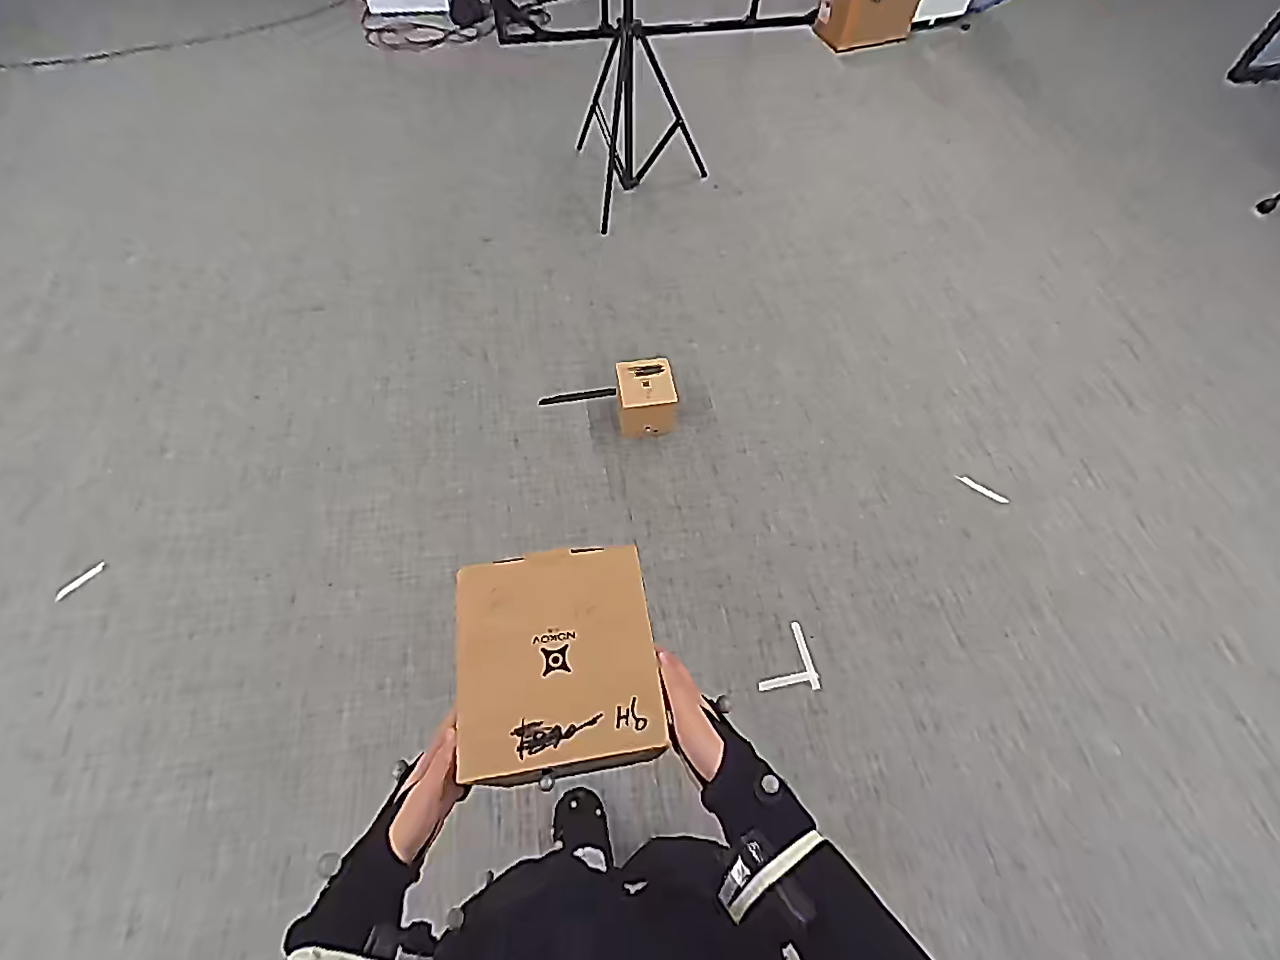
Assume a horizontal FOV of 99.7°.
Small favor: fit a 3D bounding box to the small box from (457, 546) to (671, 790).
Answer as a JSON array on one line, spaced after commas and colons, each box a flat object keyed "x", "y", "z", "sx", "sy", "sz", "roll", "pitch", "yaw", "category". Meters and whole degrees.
[{"x": -0.072, "y": 0.185, "z": 0.521, "sx": 0.168, "sy": 0.176, "sz": 0.179, "roll": -7, "pitch": 60, "yaw": -6, "category": "small box"}]
